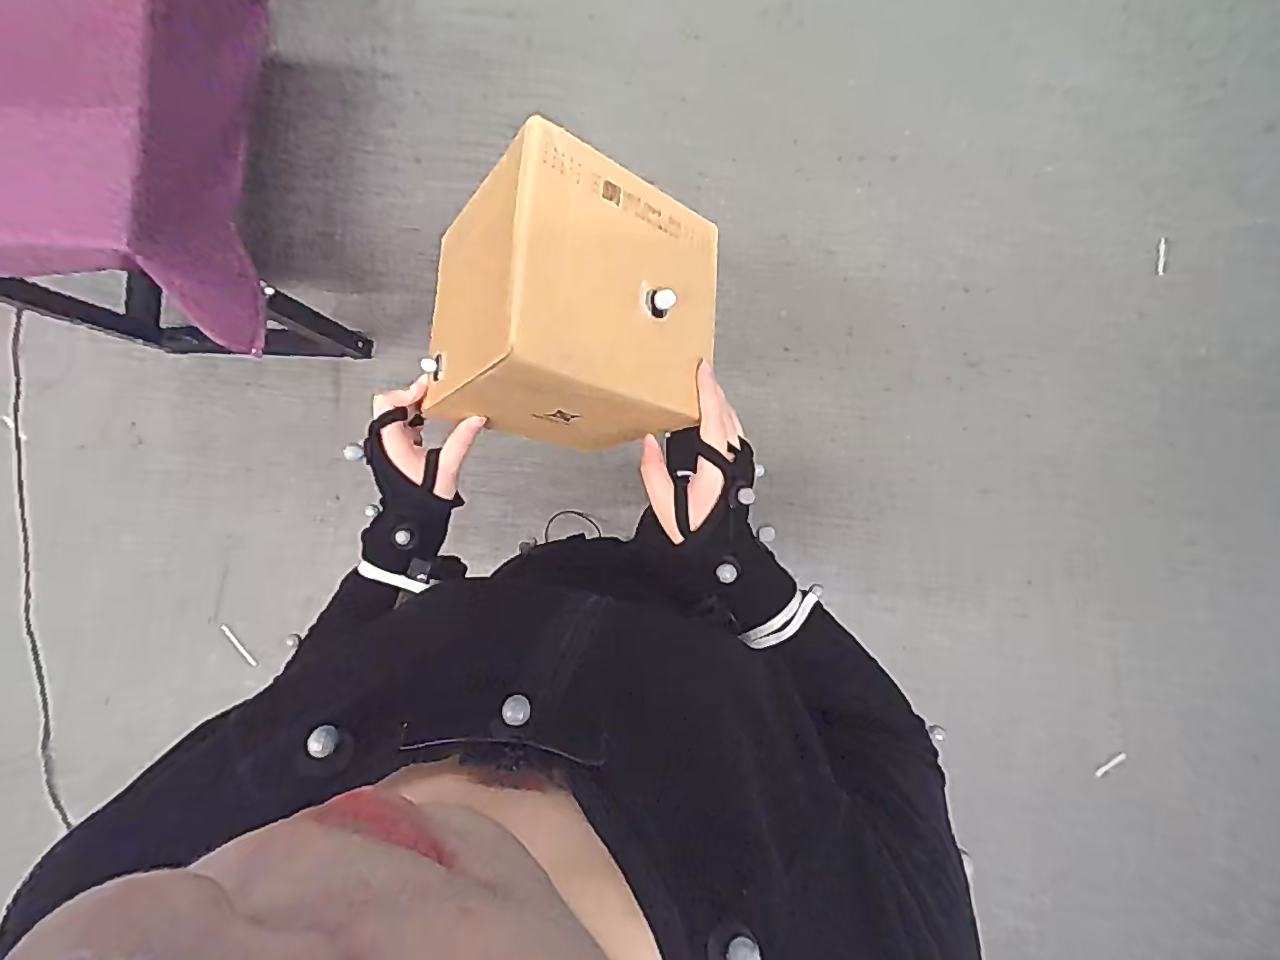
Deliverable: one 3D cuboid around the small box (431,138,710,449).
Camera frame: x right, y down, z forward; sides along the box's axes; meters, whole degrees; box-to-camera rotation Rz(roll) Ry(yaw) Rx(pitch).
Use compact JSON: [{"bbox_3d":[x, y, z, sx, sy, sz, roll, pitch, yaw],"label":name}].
[{"bbox_3d":[-0.058,-0.133,0.451,0.168,0.179,0.176,11,78,-36],"label":"small box"}]
